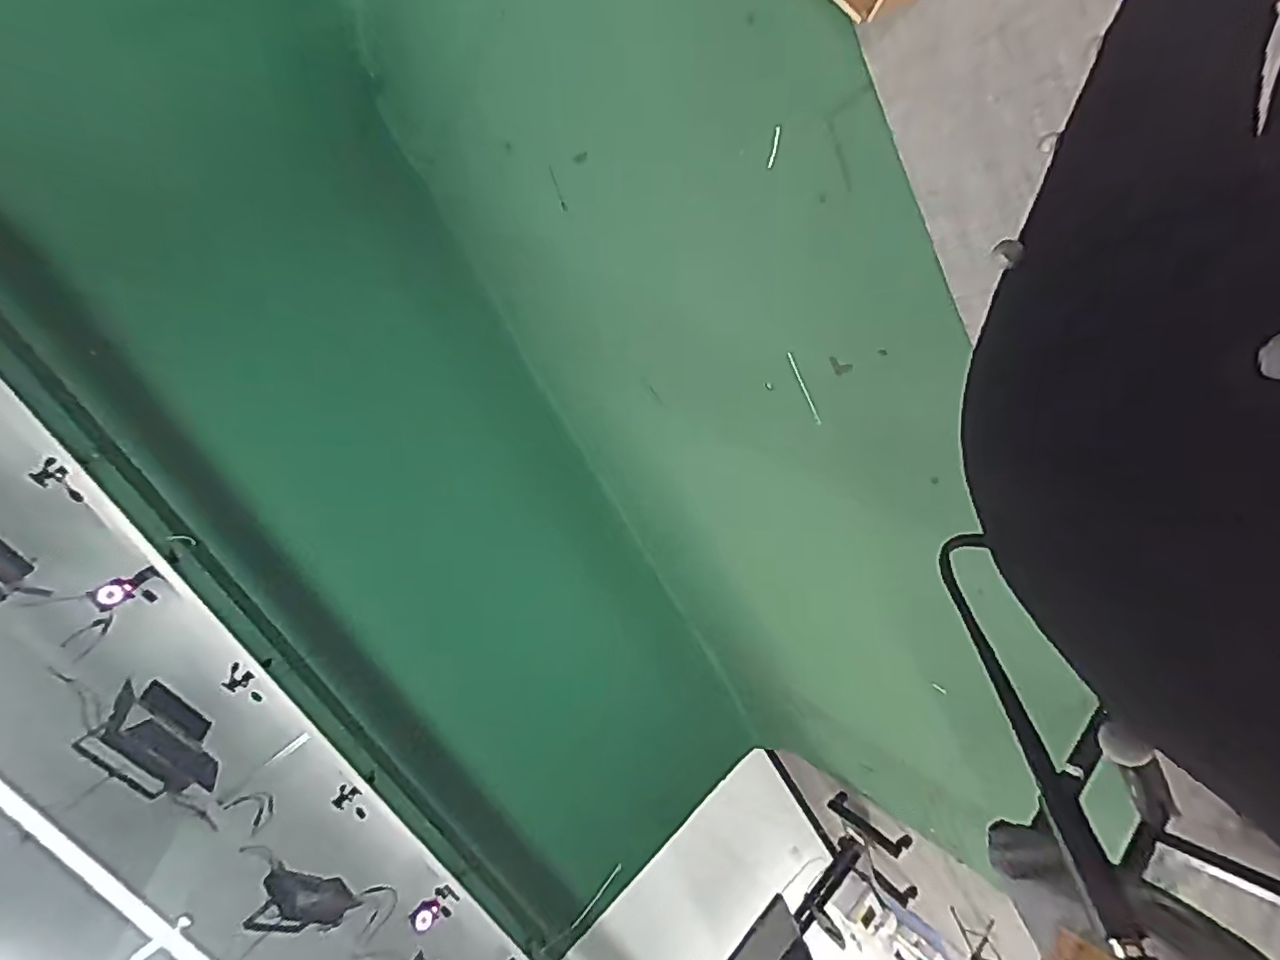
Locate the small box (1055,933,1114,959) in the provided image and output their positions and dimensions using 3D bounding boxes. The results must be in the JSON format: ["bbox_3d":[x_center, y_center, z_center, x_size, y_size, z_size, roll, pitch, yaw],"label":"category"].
[{"bbox_3d":[1.173,1.321,1.372,0.179,0.176,0.168,56,159,-12],"label":"small box"}]
